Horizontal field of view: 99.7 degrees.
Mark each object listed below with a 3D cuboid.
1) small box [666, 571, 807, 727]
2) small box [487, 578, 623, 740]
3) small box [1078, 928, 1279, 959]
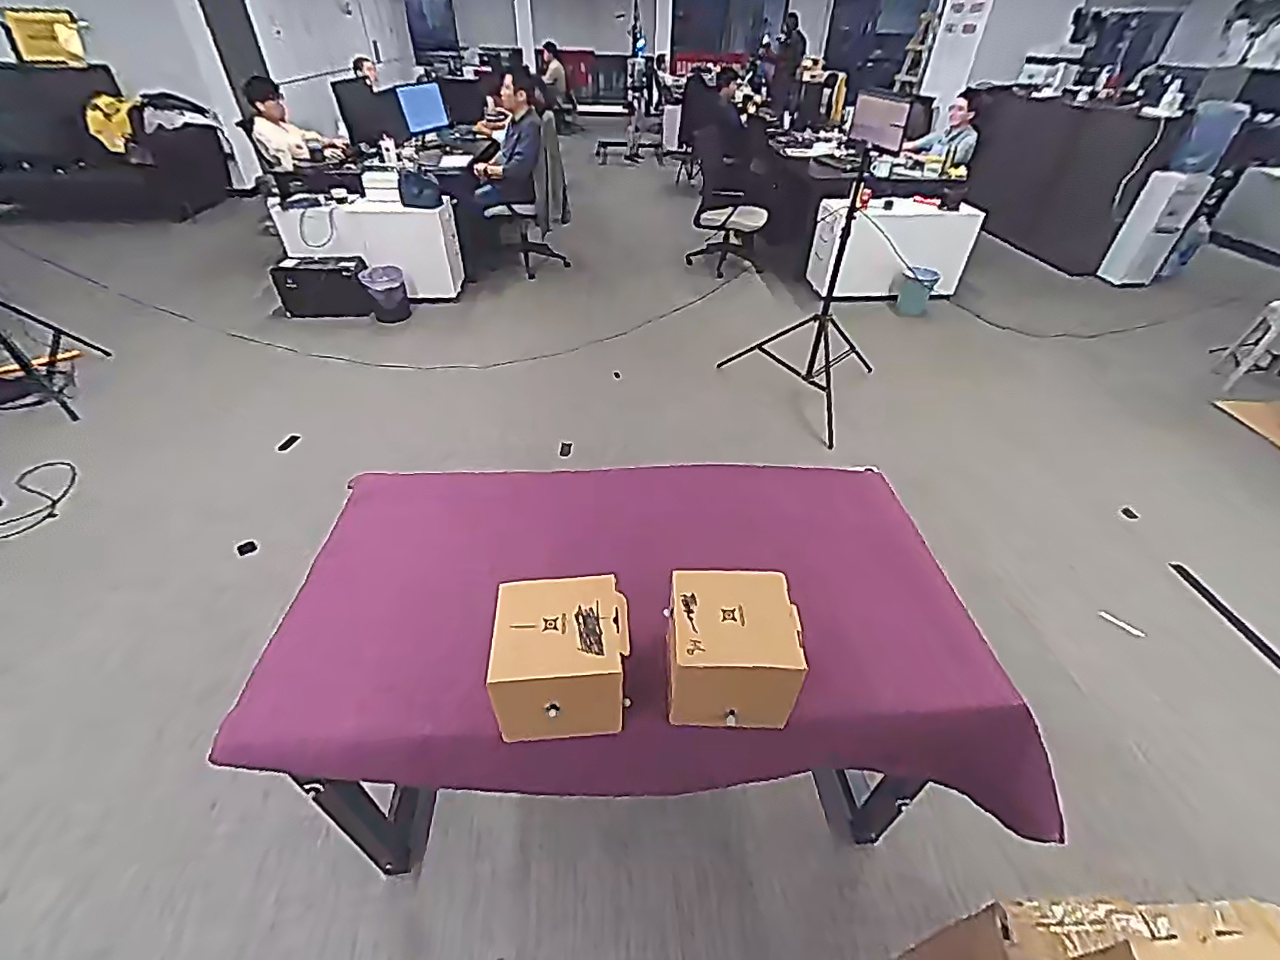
[{"bbox_3d":[0.134,0.259,0.827,0.179,0.176,0.168,2,39,-1],"label":"small box"},{"bbox_3d":[-0.116,0.266,0.808,0.179,0.176,0.168,-3,39,-4],"label":"small box"},{"bbox_3d":[0.615,0.613,0.578,0.168,0.176,0.179,-3,41,-2],"label":"small box"}]
